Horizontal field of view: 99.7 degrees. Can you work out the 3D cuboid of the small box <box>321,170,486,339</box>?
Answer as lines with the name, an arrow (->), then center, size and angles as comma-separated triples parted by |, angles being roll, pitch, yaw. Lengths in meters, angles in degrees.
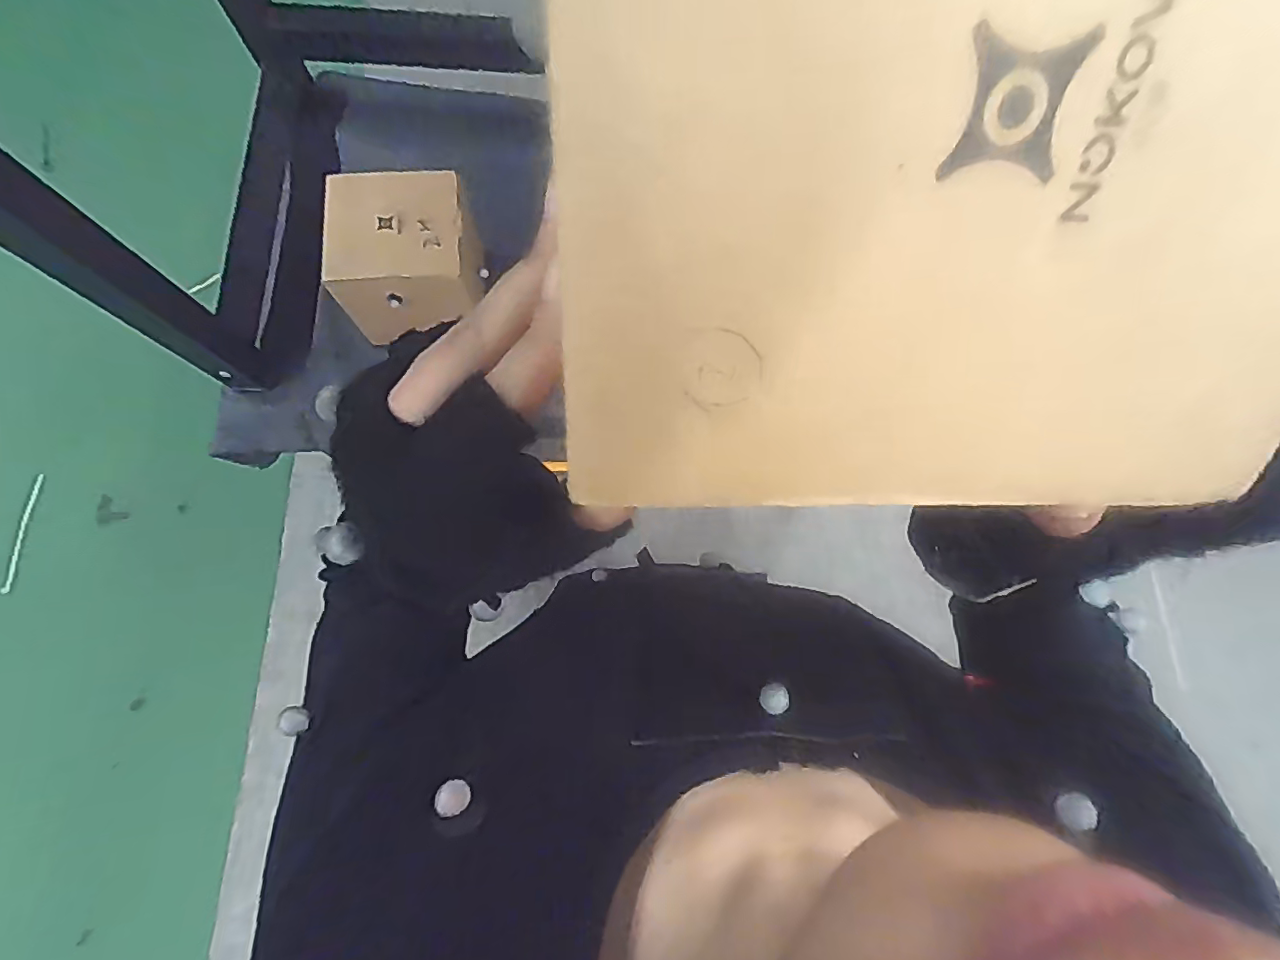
small box -> -0.333, -0.320, 0.792 | 0.179, 0.176, 0.168 | -4, 76, -6
